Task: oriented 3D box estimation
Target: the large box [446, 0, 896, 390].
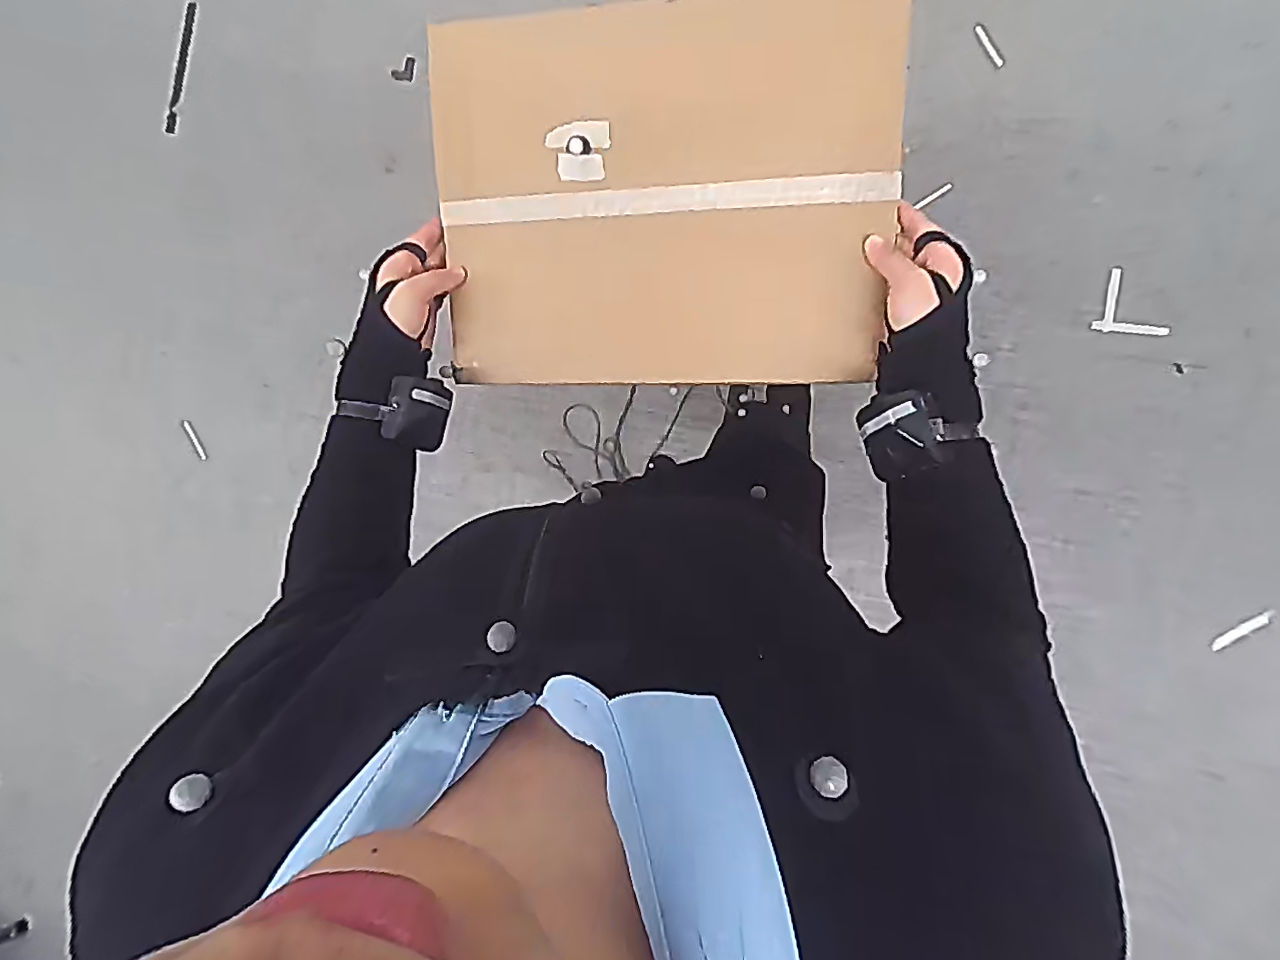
[{"bbox_3d":[0.043,-0.271,0.639,0.408,0.320,0.320,1,99,9],"label":"large box"}]
